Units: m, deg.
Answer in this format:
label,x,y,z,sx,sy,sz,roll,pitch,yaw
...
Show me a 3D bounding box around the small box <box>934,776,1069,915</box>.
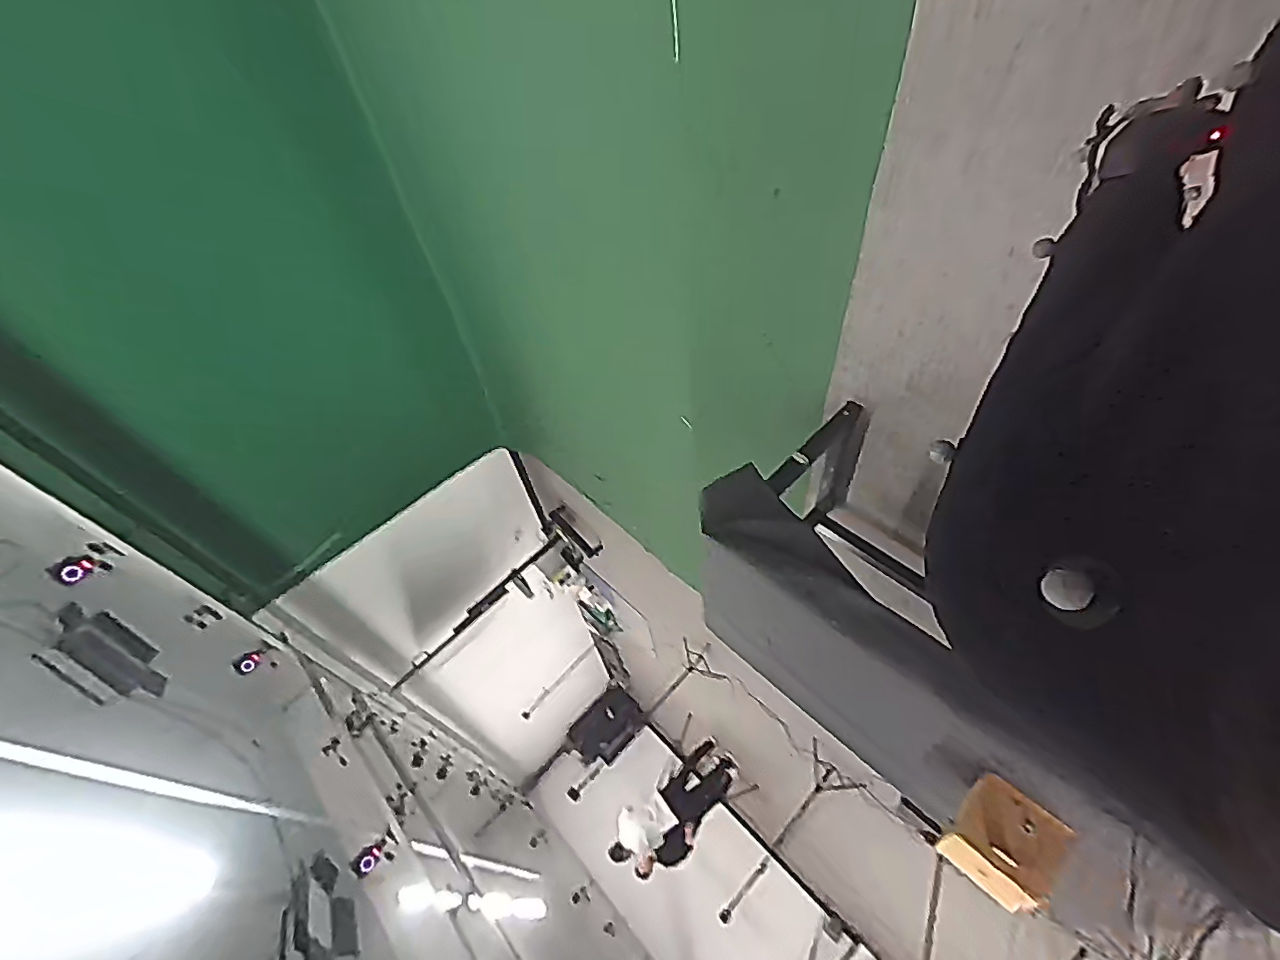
label,x,y,z,sx,sy,sz,roll,pitch,yaw
small box,0.769,0.776,1.155,0.168,0.176,0.179,34,152,35
